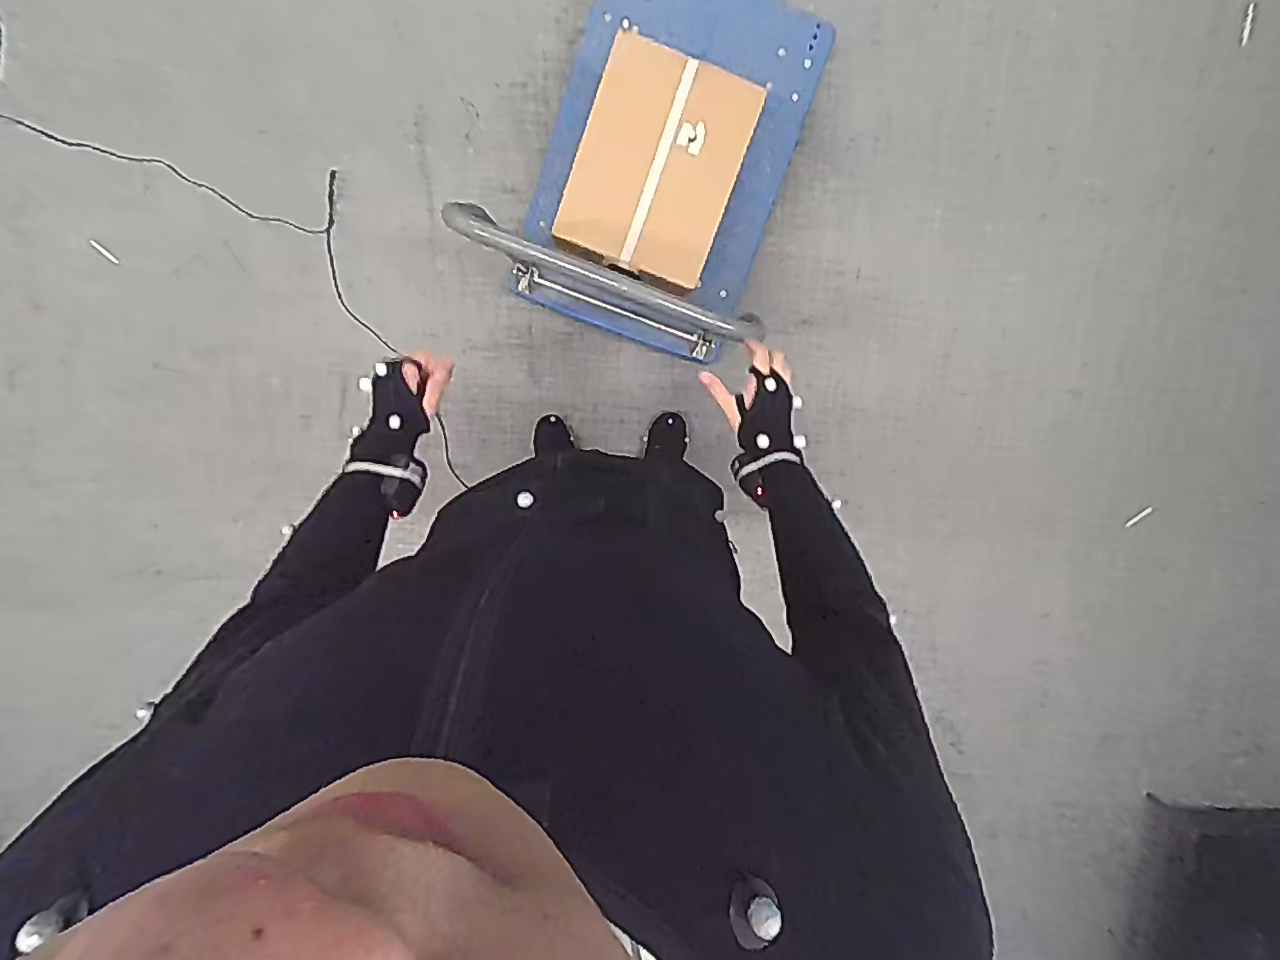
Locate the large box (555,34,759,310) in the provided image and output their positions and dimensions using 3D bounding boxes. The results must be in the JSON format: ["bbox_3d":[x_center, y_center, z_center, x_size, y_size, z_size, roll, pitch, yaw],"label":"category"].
[{"bbox_3d":[0.027,-0.654,1.231,0.320,0.320,0.408,20,96,-5],"label":"large box"}]
